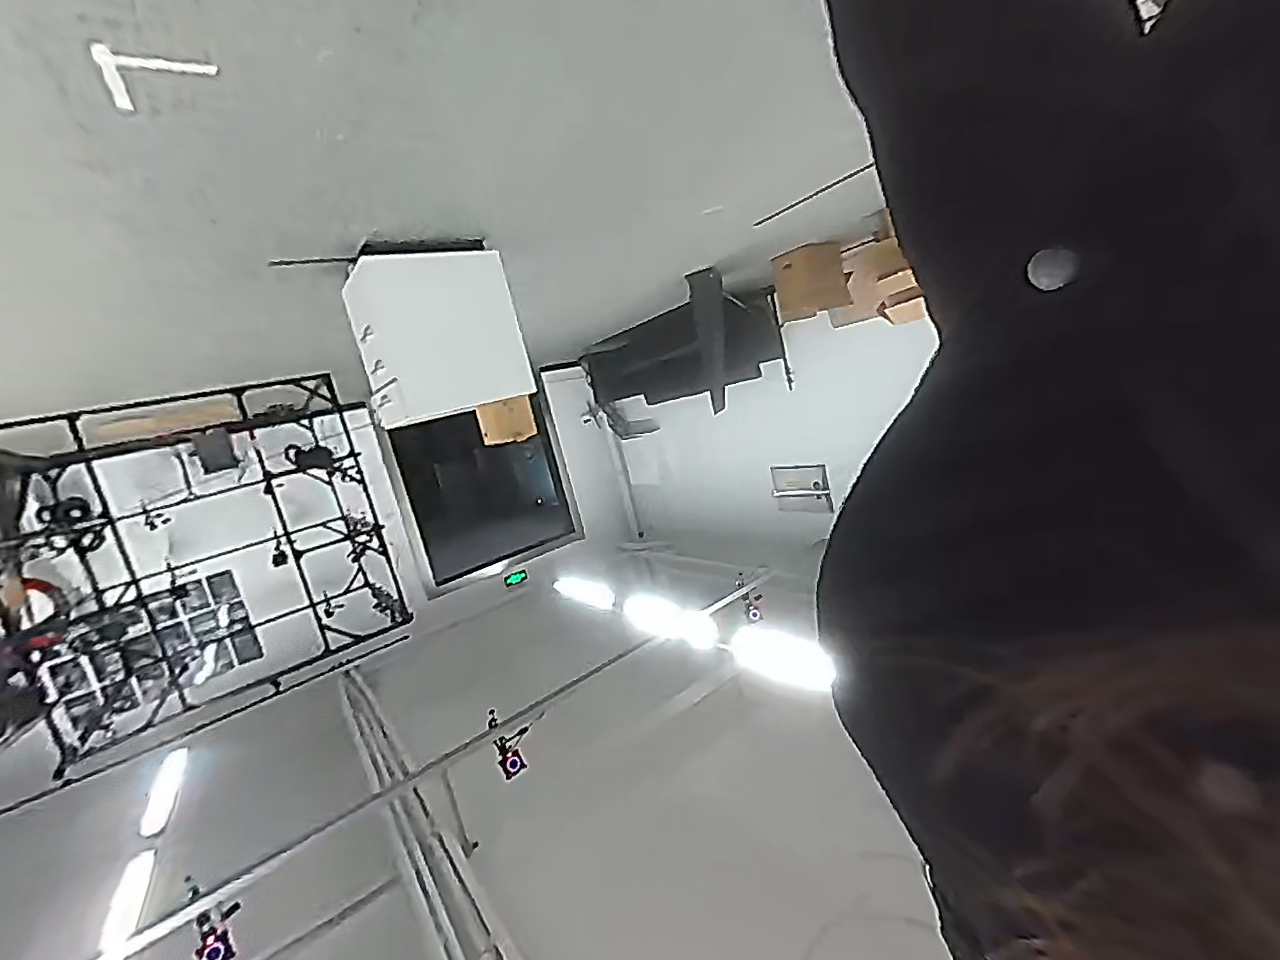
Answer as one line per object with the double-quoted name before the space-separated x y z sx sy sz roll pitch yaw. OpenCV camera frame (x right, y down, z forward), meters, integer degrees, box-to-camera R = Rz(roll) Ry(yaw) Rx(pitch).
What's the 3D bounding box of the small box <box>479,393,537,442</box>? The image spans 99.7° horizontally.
"small box" -0.552 -0.261 2.240 0.168 0.176 0.179 -21 -168 -34
